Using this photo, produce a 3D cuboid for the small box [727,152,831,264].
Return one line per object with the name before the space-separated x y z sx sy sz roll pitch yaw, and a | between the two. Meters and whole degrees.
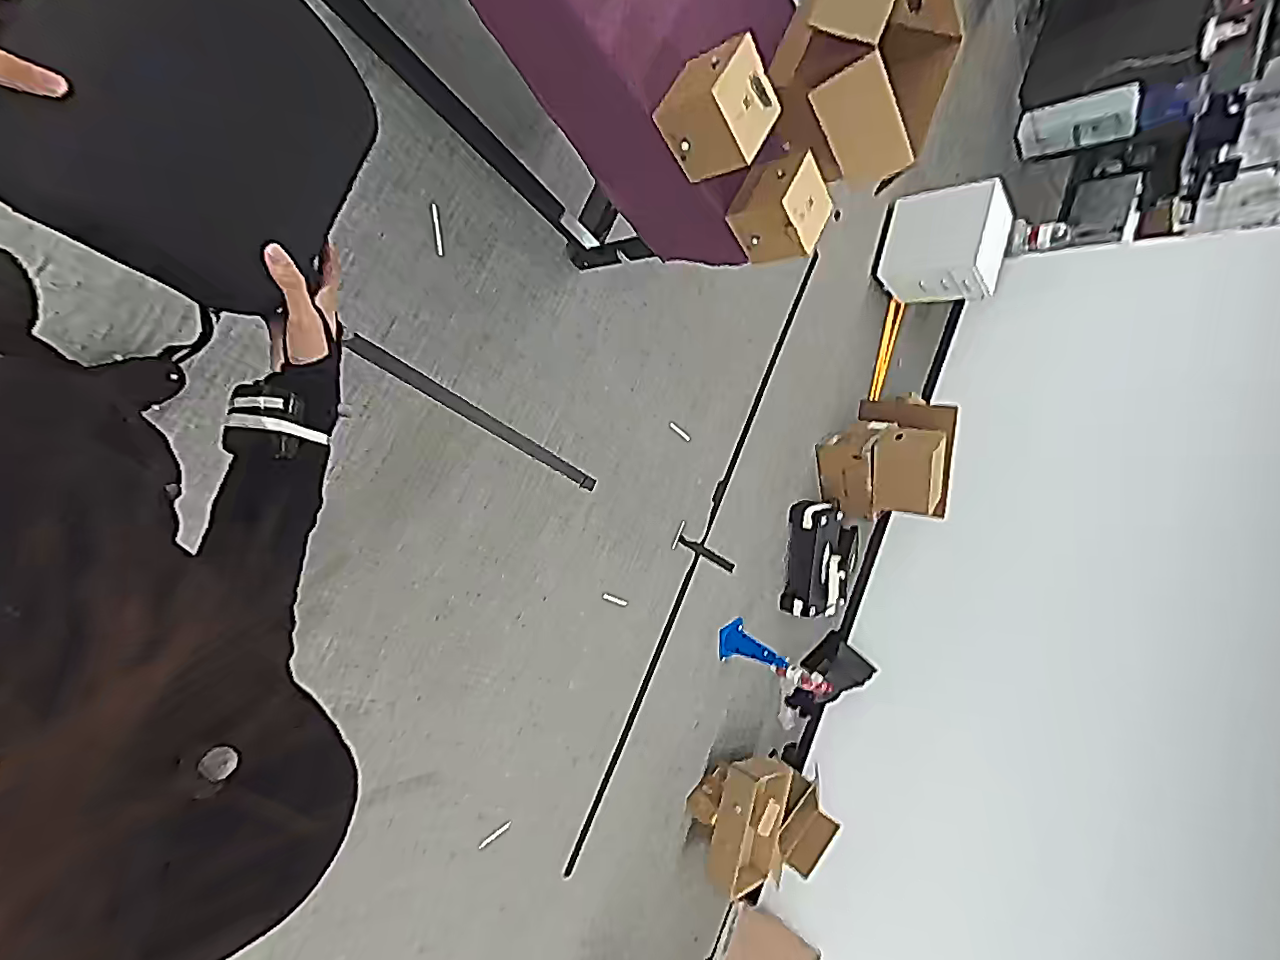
small box | 0.346 -0.672 1.354 0.168 0.176 0.179 41 71 -40
